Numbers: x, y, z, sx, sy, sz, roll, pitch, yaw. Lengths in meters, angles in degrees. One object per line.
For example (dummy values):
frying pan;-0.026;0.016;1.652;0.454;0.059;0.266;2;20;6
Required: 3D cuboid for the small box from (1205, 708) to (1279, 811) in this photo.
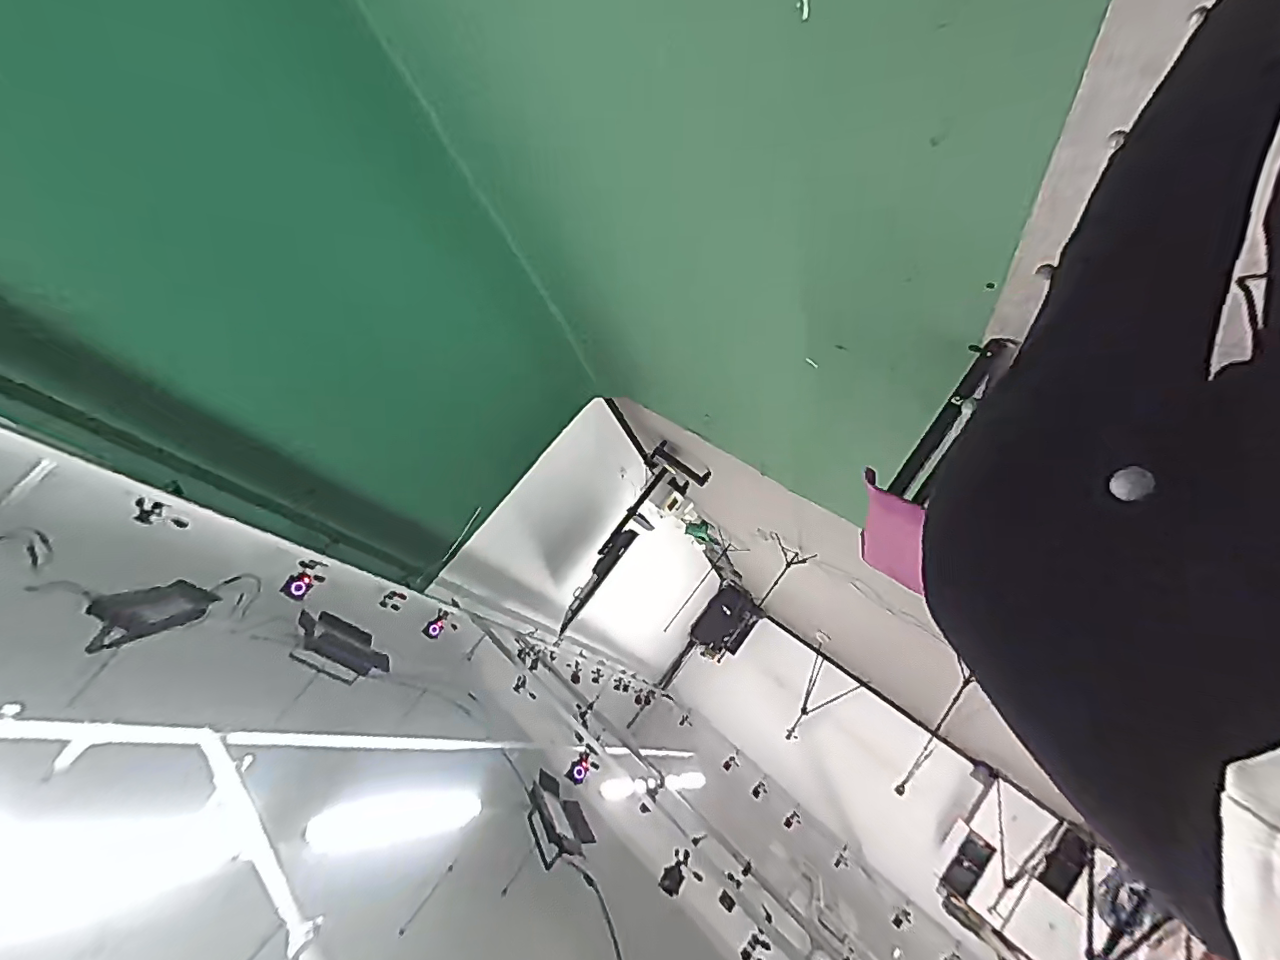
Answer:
small box;1.471;0.646;1.234;0.168;0.176;0.179;32;170;32
